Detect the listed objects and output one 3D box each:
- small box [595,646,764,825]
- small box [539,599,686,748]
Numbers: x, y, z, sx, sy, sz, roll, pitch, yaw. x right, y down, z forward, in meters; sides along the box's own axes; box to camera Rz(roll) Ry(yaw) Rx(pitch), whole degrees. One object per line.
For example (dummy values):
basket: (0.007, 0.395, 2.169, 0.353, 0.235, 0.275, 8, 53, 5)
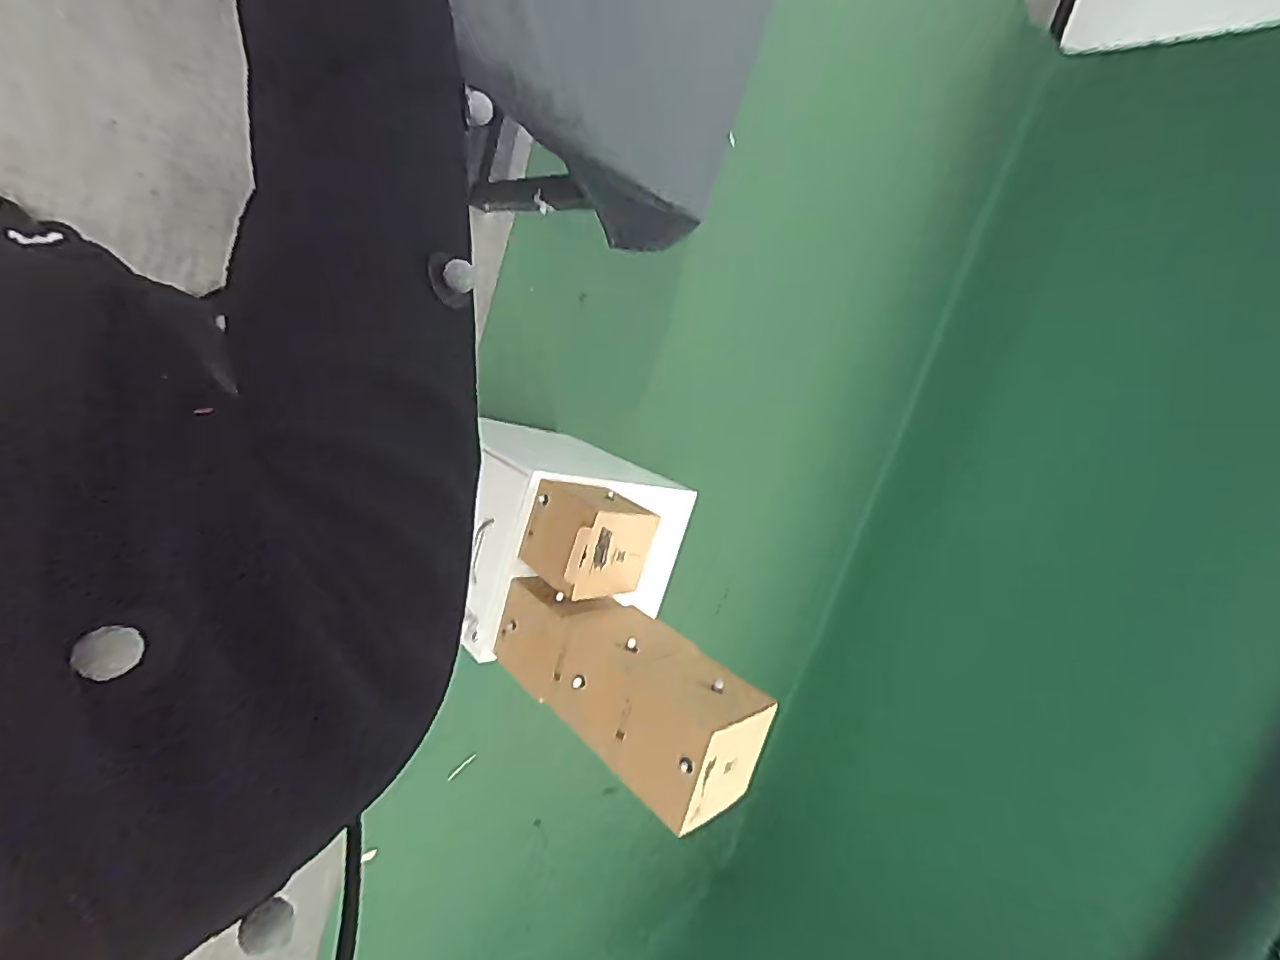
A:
small box: (0.061, 0.381, 0.849, 0.179, 0.176, 0.168, 5, 104, -49)
small box: (-0.053, 0.328, 0.955, 0.179, 0.176, 0.168, 2, 107, -48)
